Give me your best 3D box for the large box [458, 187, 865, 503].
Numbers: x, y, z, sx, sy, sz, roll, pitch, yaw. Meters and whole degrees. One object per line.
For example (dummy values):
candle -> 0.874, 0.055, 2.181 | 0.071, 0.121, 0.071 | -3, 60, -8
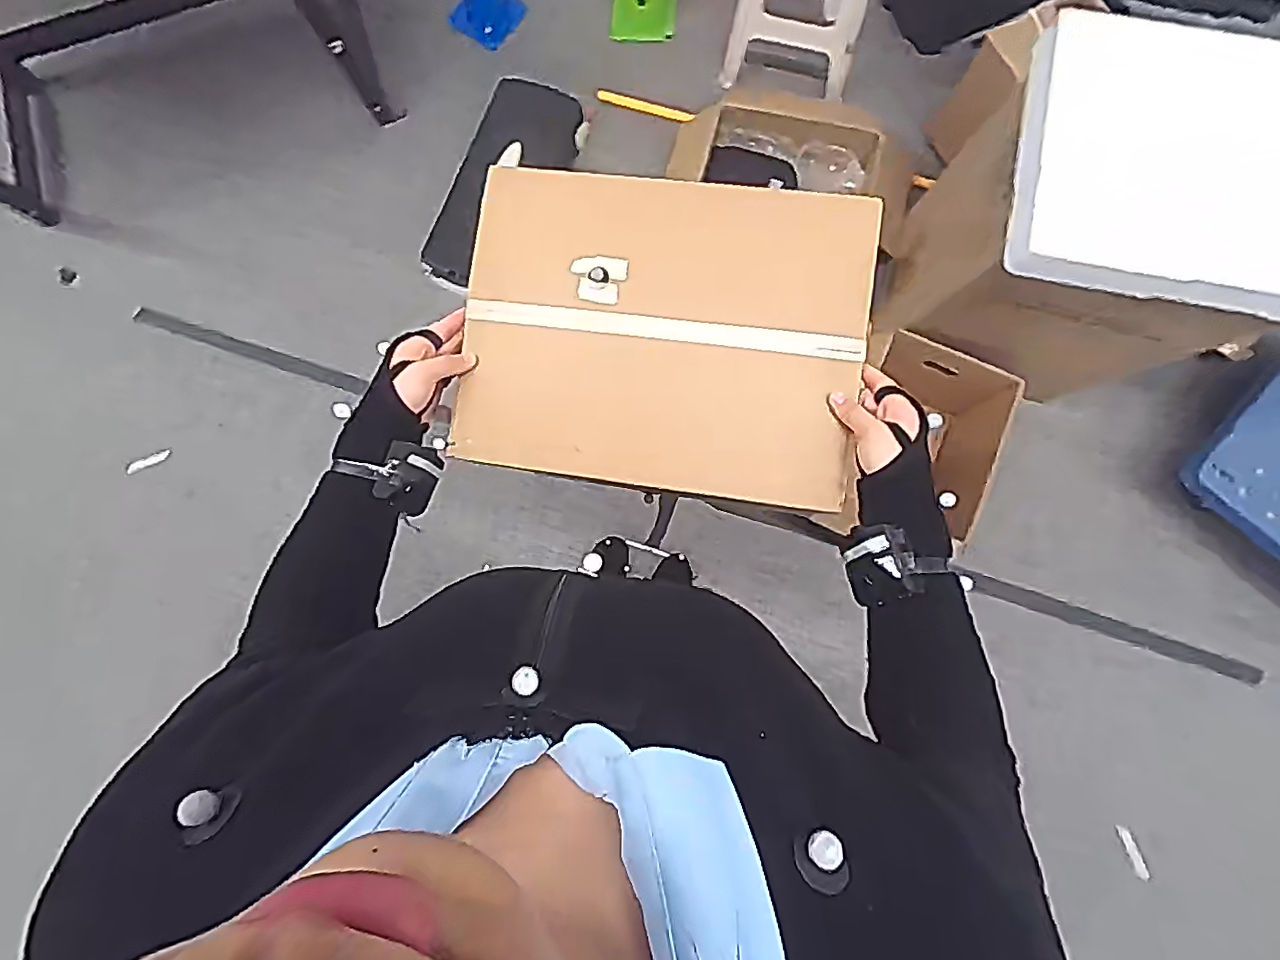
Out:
large box -> 0.034, -0.141, 0.707 | 0.408, 0.320, 0.320 | 7, 86, 7
